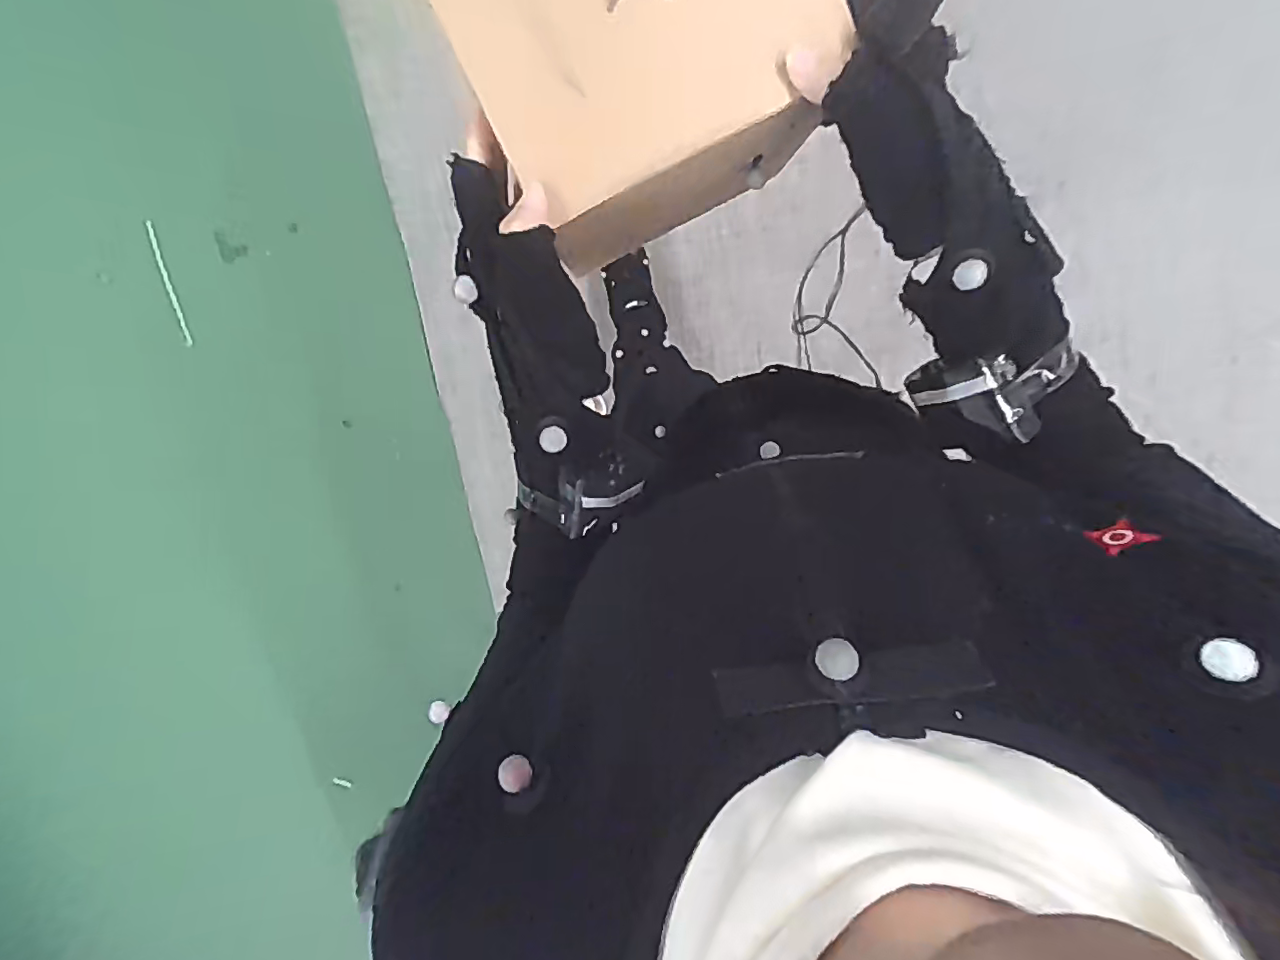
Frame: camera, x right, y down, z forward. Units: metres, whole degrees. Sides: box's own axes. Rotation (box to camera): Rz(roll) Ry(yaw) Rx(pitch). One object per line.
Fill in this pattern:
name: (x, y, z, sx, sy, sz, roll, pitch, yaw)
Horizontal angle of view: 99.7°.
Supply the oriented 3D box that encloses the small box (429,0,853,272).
small box: (-0.008, -0.252, 0.331, 0.179, 0.176, 0.168, -26, 100, 6)
